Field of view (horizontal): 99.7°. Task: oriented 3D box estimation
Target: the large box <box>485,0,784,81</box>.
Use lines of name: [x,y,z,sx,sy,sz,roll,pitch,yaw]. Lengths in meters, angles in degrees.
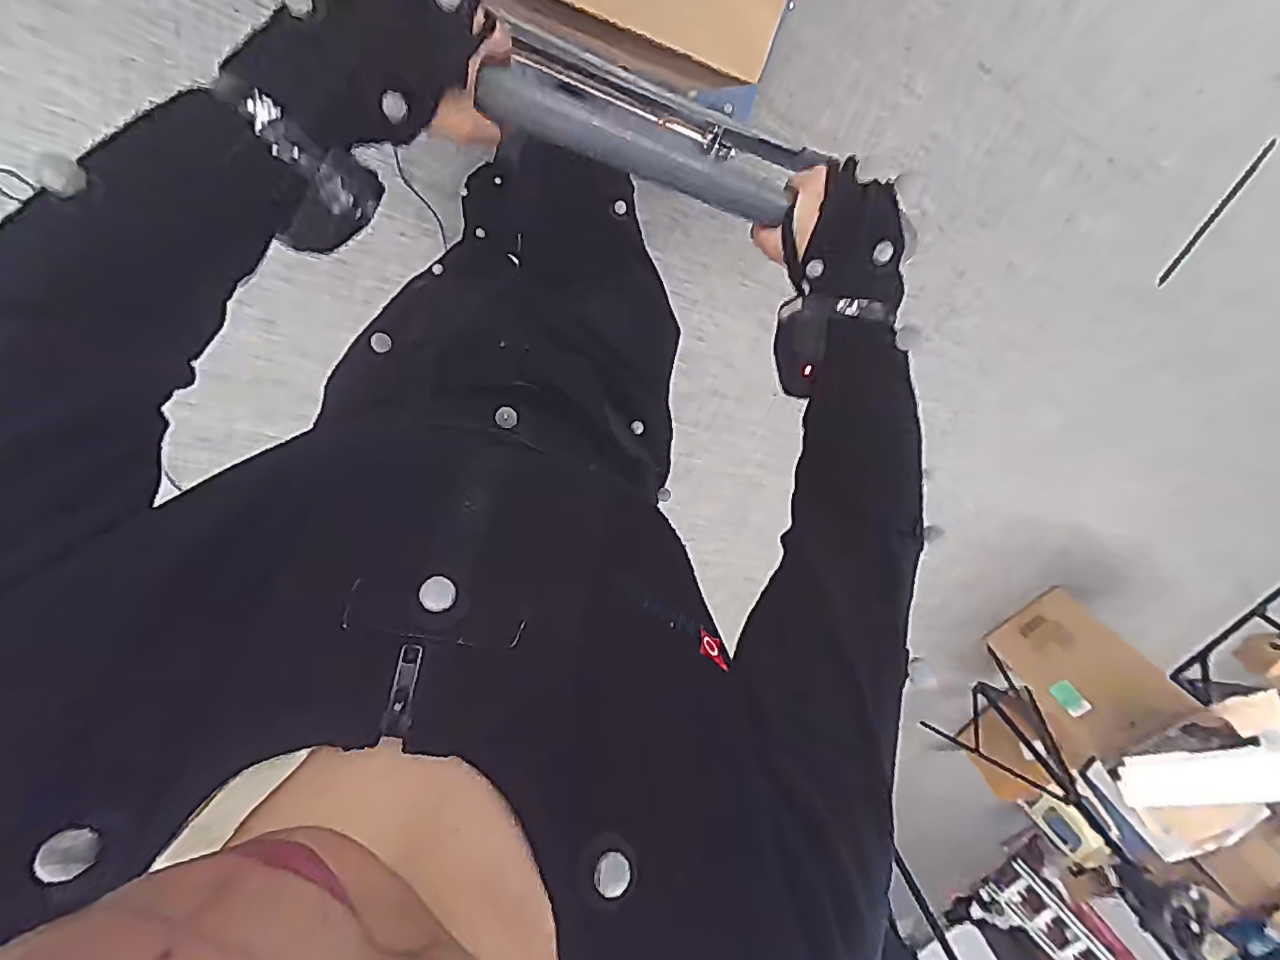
large box: [-0.022,-0.751,0.671,0.408,0.320,0.320,8,122,-20]
